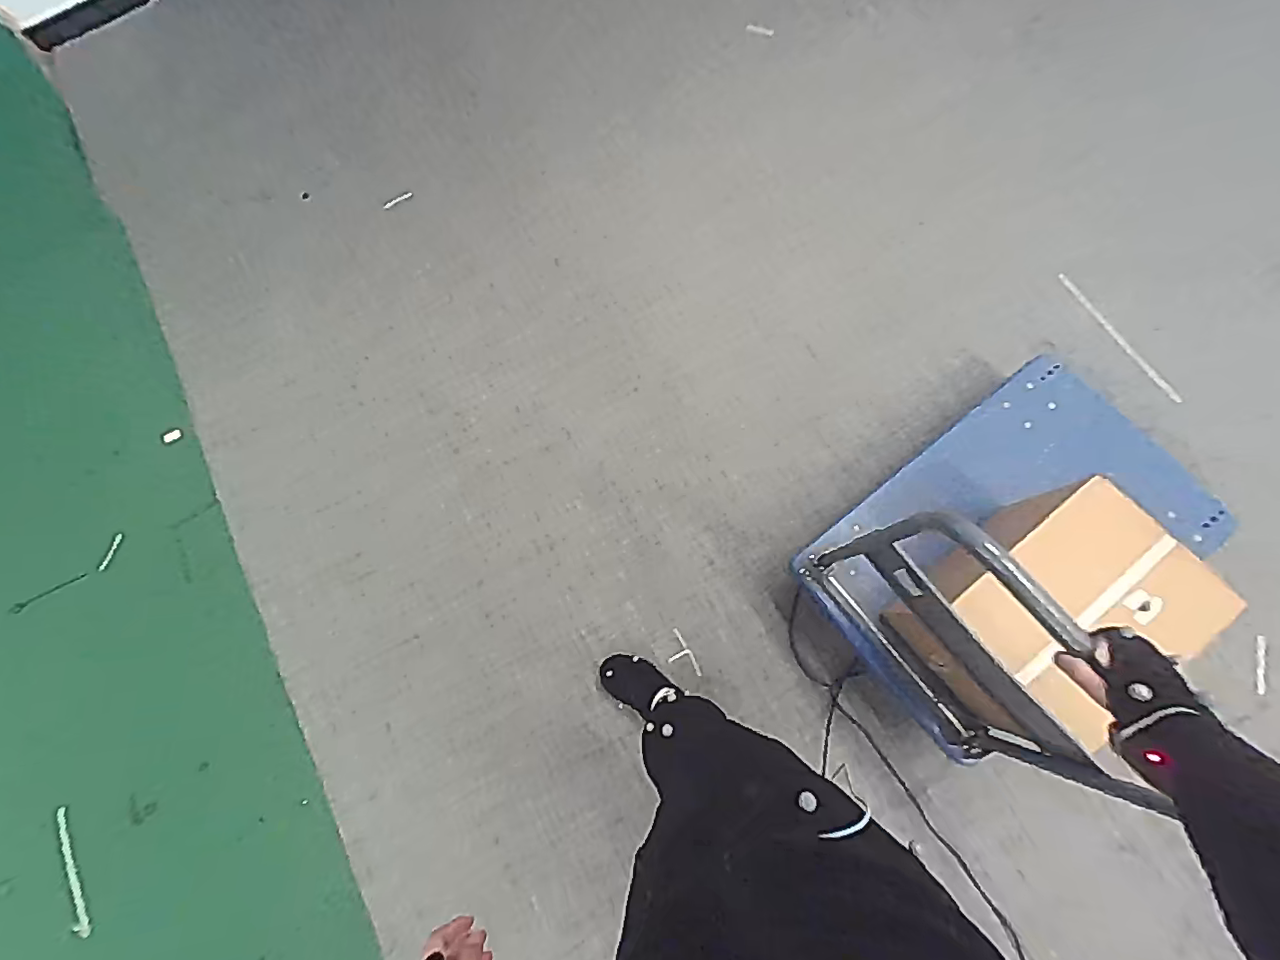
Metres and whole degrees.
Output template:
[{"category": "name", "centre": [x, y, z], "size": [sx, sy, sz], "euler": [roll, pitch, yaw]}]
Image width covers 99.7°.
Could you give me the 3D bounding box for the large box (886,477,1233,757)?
[{"category": "large box", "centre": [0.801, 0.268, 1.100], "size": [0.408, 0.320, 0.320], "euler": [-39, 77, -6]}]
